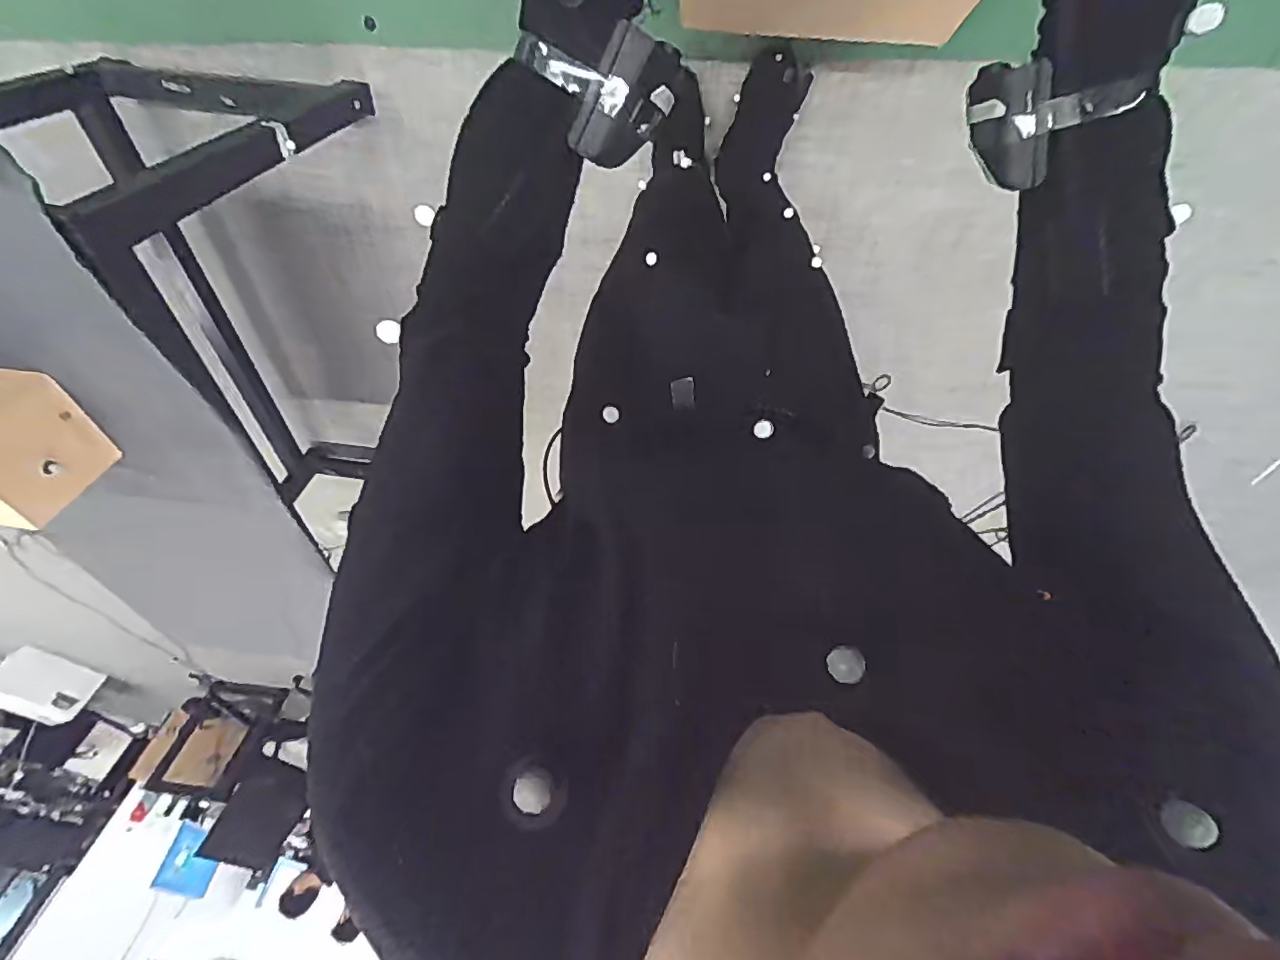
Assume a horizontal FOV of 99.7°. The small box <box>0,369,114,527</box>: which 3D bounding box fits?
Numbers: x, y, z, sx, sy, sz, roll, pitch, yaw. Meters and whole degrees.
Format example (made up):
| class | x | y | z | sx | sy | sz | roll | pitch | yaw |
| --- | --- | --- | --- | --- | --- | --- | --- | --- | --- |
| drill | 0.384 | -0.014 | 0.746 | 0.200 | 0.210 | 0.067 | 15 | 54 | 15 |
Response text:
| class | x | y | z | sx | sy | sz | roll | pitch | yaw |
| --- | --- | --- | --- | --- | --- | --- | --- | --- | --- |
| small box | -0.946 | -0.054 | 0.795 | 0.179 | 0.176 | 0.168 | 7 | 138 | 4 |
